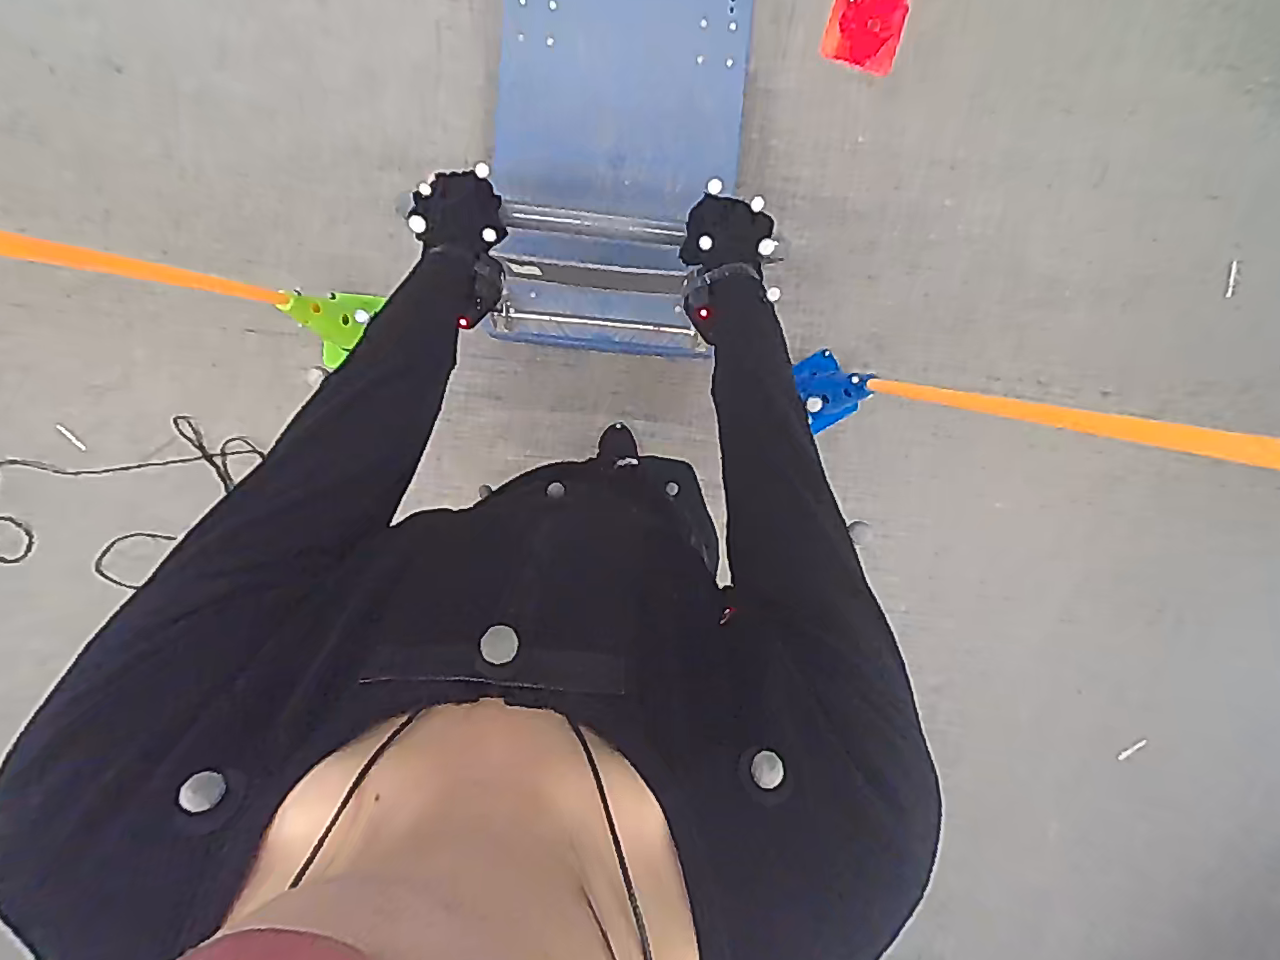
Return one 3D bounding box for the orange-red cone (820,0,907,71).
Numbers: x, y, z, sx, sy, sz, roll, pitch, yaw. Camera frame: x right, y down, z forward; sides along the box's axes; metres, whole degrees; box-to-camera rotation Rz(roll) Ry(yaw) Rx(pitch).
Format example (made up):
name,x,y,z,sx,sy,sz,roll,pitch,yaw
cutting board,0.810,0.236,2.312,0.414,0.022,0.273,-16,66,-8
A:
name,x,y,z,sx,sy,sz,roll,pitch,yaw
orange-red cone,0.602,-1.198,1.271,0.198,0.360,0.199,17,94,-3
